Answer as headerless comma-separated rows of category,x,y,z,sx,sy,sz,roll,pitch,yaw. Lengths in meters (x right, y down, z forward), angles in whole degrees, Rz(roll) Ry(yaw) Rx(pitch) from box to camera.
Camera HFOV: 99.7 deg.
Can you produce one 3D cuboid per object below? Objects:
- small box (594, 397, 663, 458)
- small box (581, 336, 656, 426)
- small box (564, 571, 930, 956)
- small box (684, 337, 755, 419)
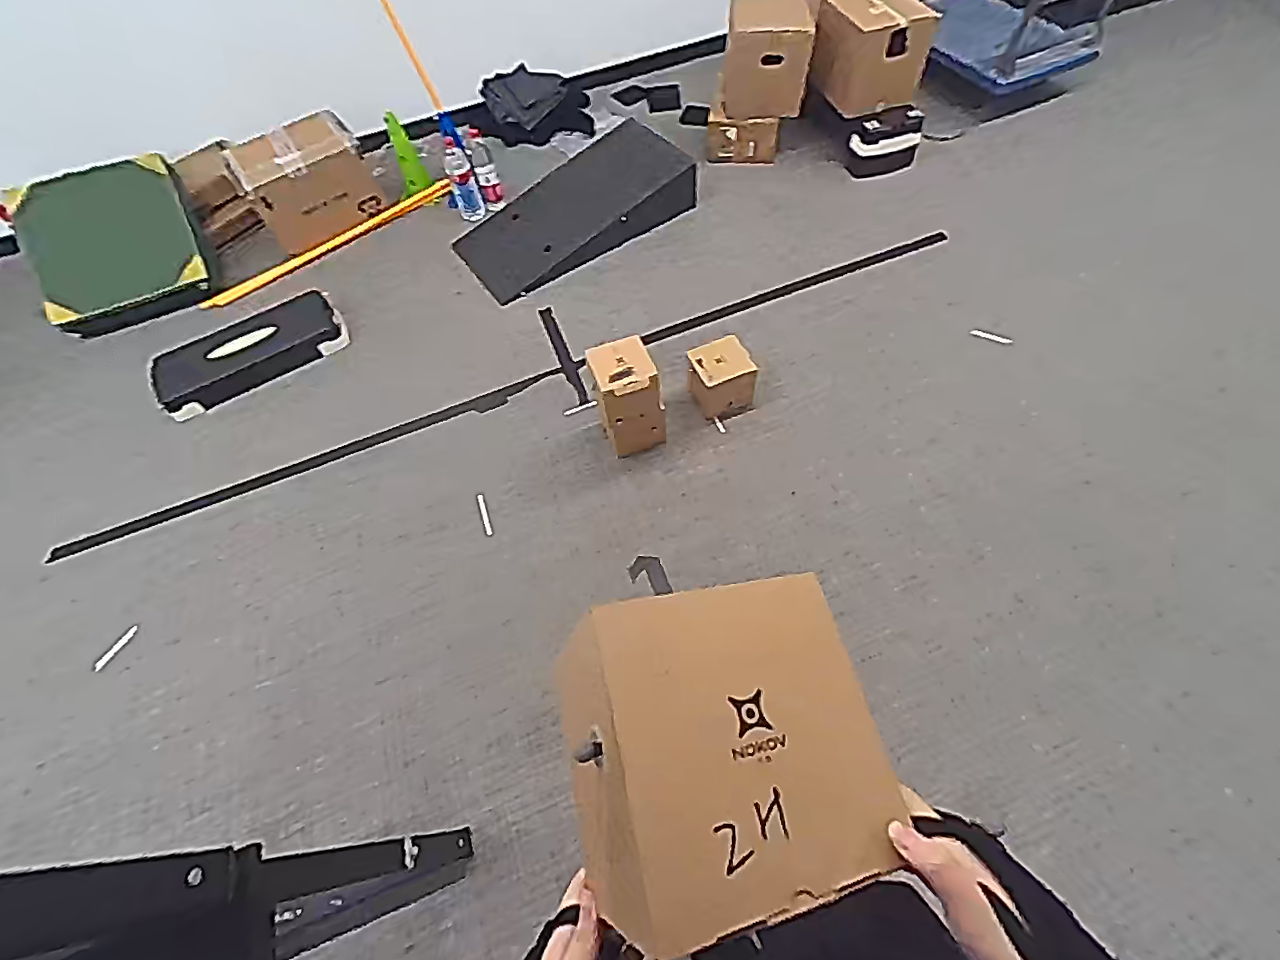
small box,-0.038,-0.199,1.707,0.179,0.176,0.168,-22,59,-8
small box,-0.057,-0.278,1.565,0.168,0.176,0.179,-19,58,-7
small box,0.047,0.181,0.377,0.168,0.176,0.179,-3,62,-19
small box,0.251,-0.329,1.760,0.179,0.176,0.168,-21,59,-8
